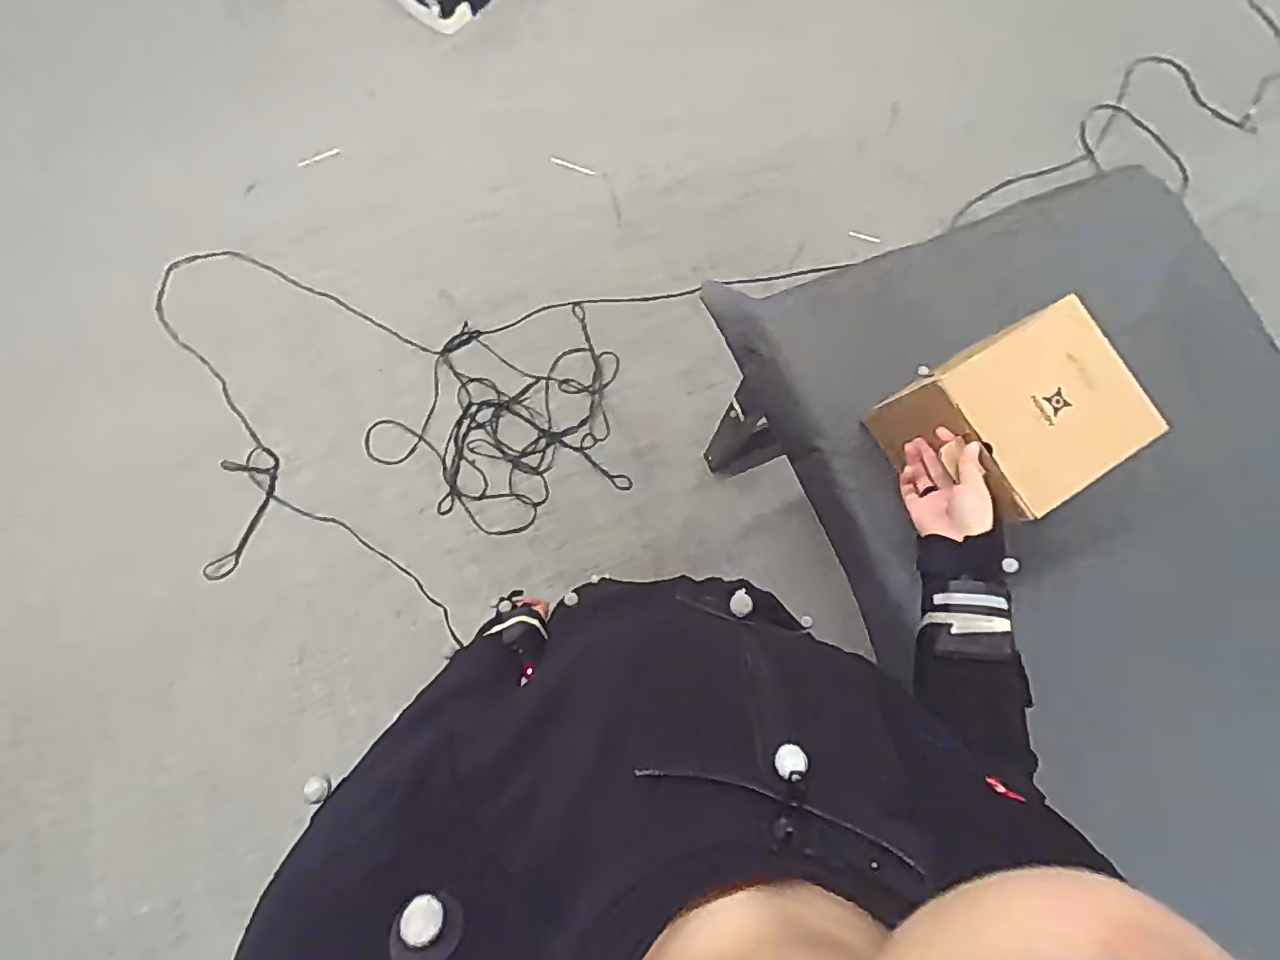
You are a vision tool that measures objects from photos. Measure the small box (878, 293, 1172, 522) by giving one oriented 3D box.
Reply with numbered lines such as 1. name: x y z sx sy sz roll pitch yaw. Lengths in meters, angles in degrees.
1. small box: 0.397 -0.063 0.598 0.179 0.176 0.168 -34 88 -7
